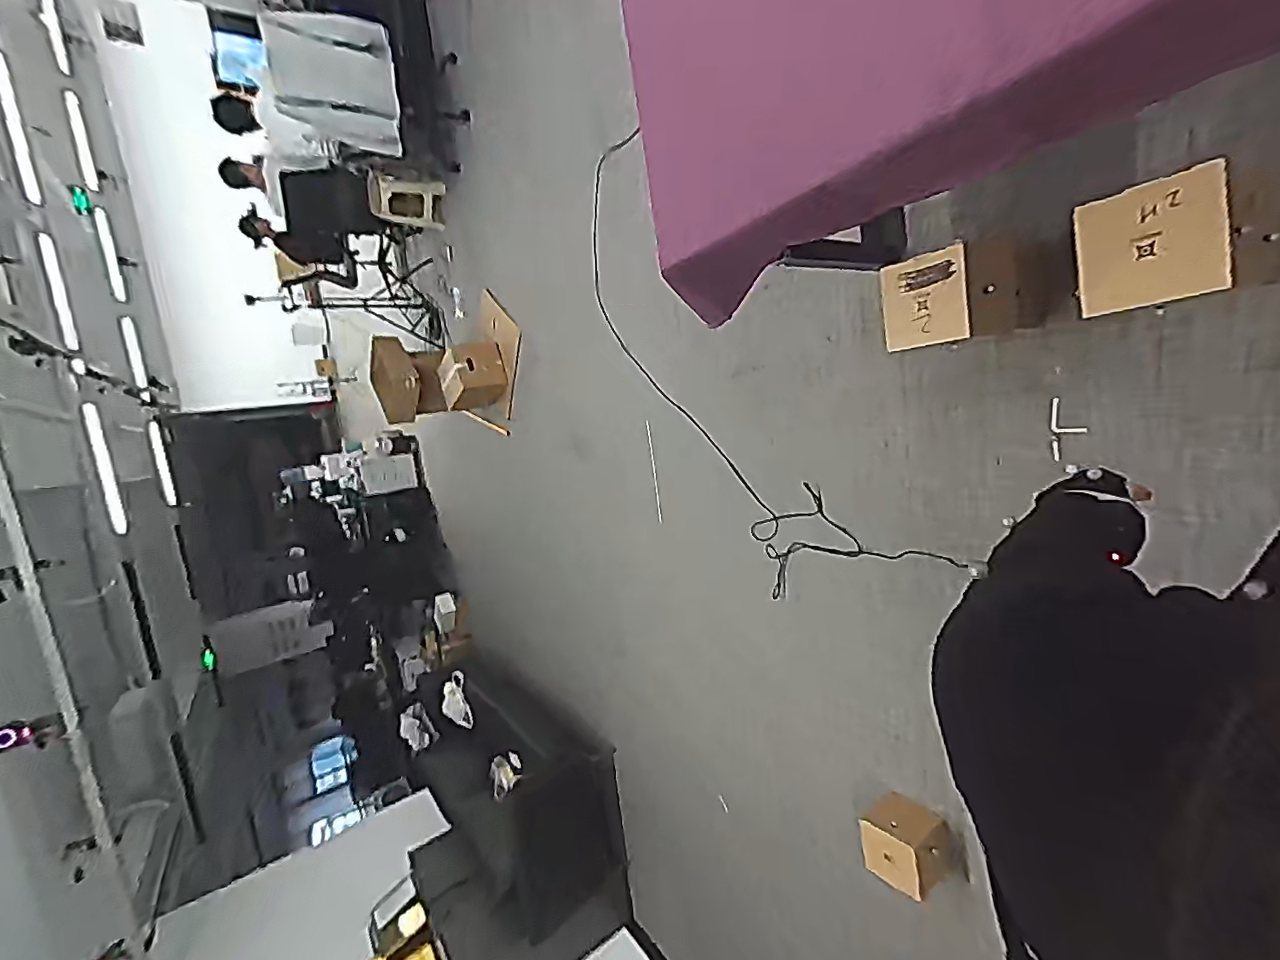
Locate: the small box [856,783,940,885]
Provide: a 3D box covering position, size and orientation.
[{"bbox_3d":[0.793,1.065,1.649,0.179,0.176,0.168,0,100,56],"label":"small box"}]

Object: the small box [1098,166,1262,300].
[{"bbox_3d":[0.939,-0.415,0.943,0.179,0.176,0.168,2,103,55],"label":"small box"}]
